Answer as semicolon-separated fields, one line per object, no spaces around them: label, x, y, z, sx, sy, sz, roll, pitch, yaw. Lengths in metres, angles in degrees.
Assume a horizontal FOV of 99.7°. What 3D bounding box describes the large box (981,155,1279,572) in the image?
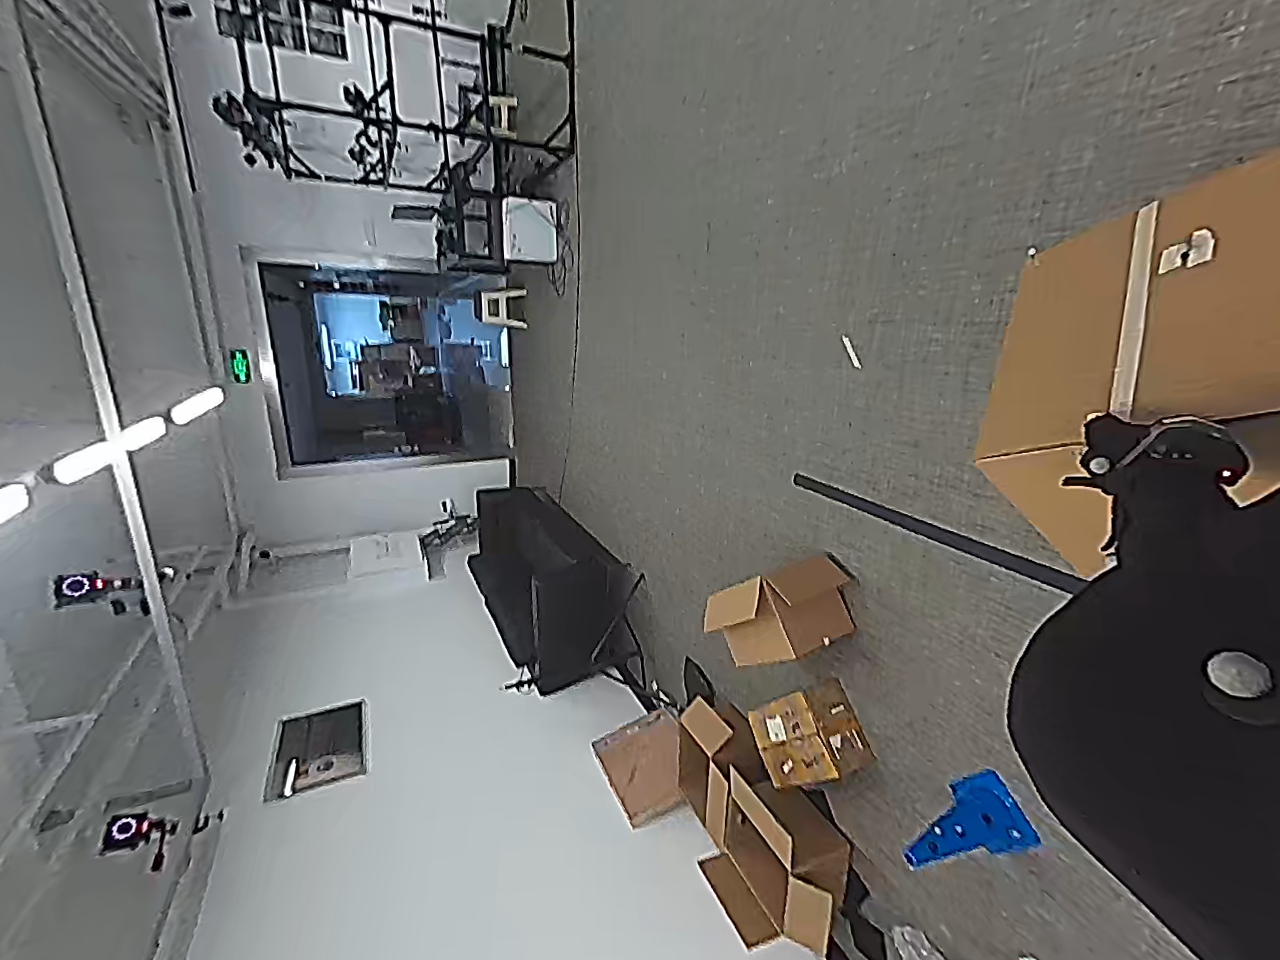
large box;0.732;-0.125;0.718;0.320;0.320;0.408;-13;43;61
